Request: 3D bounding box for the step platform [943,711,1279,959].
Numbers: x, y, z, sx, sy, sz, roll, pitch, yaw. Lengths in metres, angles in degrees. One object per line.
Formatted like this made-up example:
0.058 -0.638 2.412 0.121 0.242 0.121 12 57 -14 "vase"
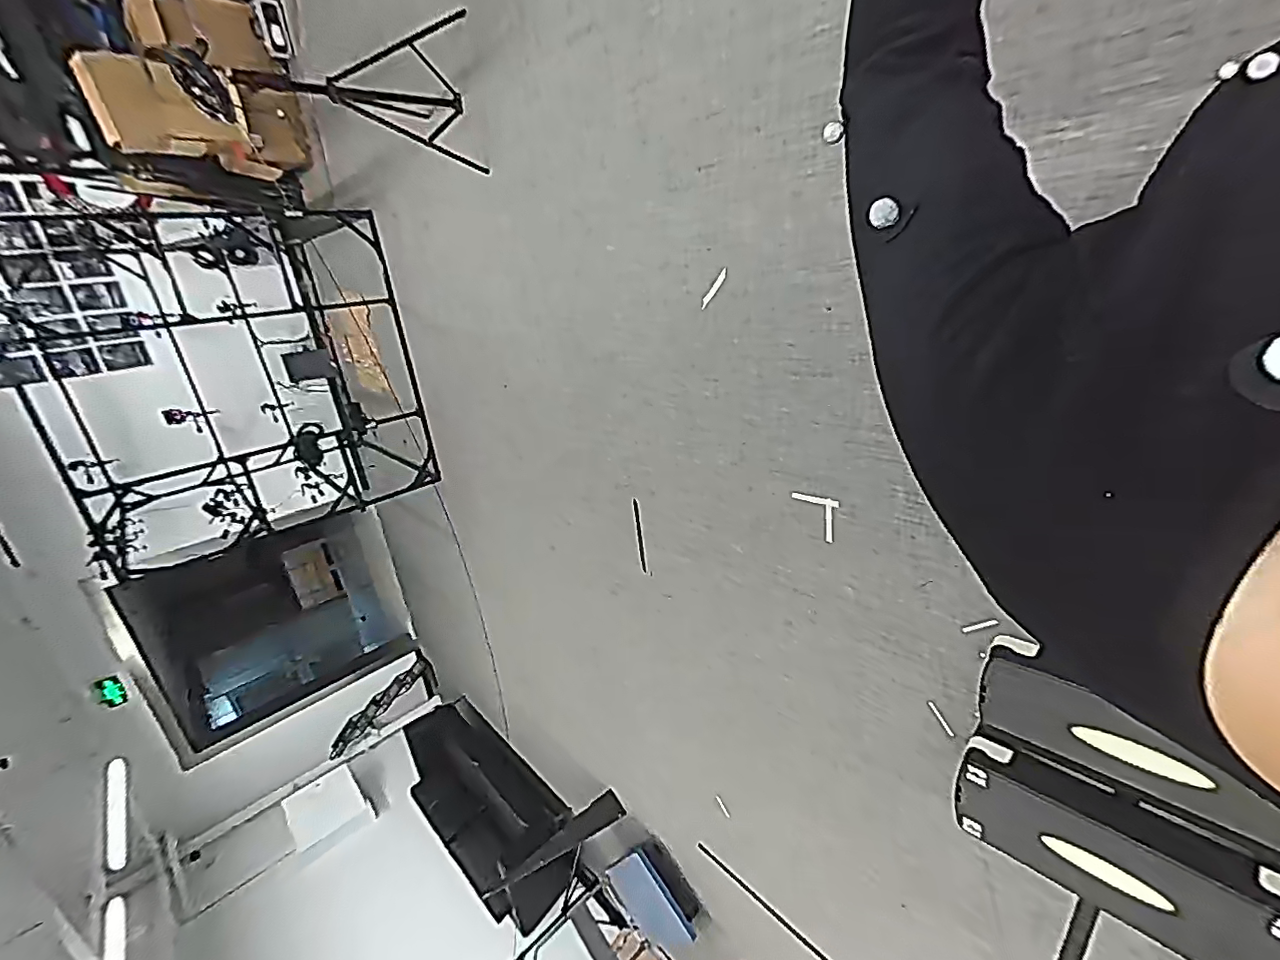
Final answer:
1.171 0.902 1.394 0.684 0.204 0.286 15 120 47 "step platform"
